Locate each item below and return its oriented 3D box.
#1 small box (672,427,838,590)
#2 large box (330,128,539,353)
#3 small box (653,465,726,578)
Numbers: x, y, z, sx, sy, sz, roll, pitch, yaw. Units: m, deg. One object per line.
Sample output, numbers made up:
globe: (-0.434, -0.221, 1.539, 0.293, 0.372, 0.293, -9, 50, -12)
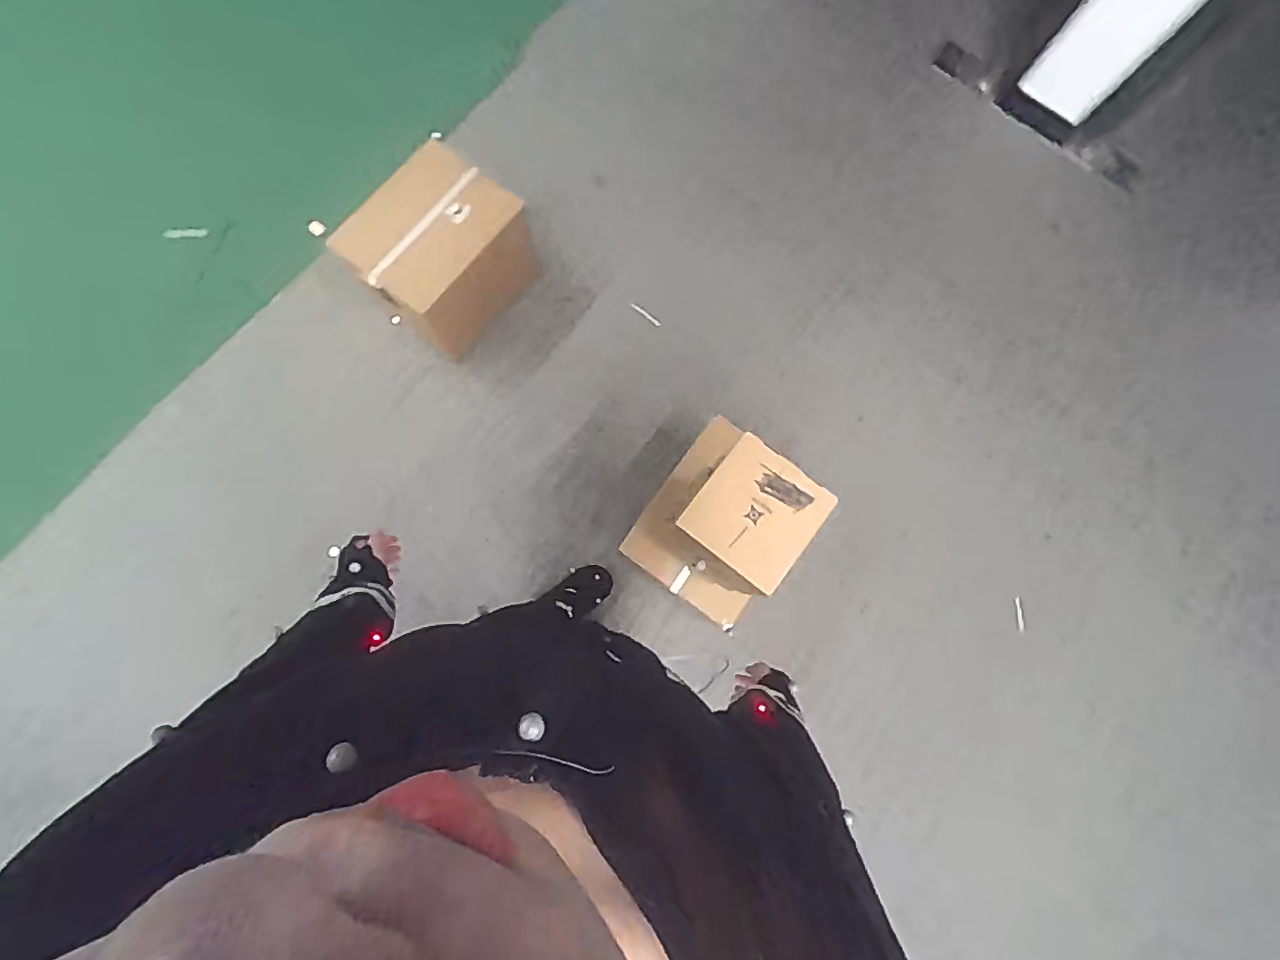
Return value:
small box: (0.163, 0.049, 0.839, 0.168, 0.176, 0.179, 39, 82, 4)
large box: (-0.534, -0.636, 1.488, 0.320, 0.320, 0.408, 37, 79, 3)
small box: (0.146, 0.093, 1.165, 0.179, 0.176, 0.168, 35, 80, 4)
